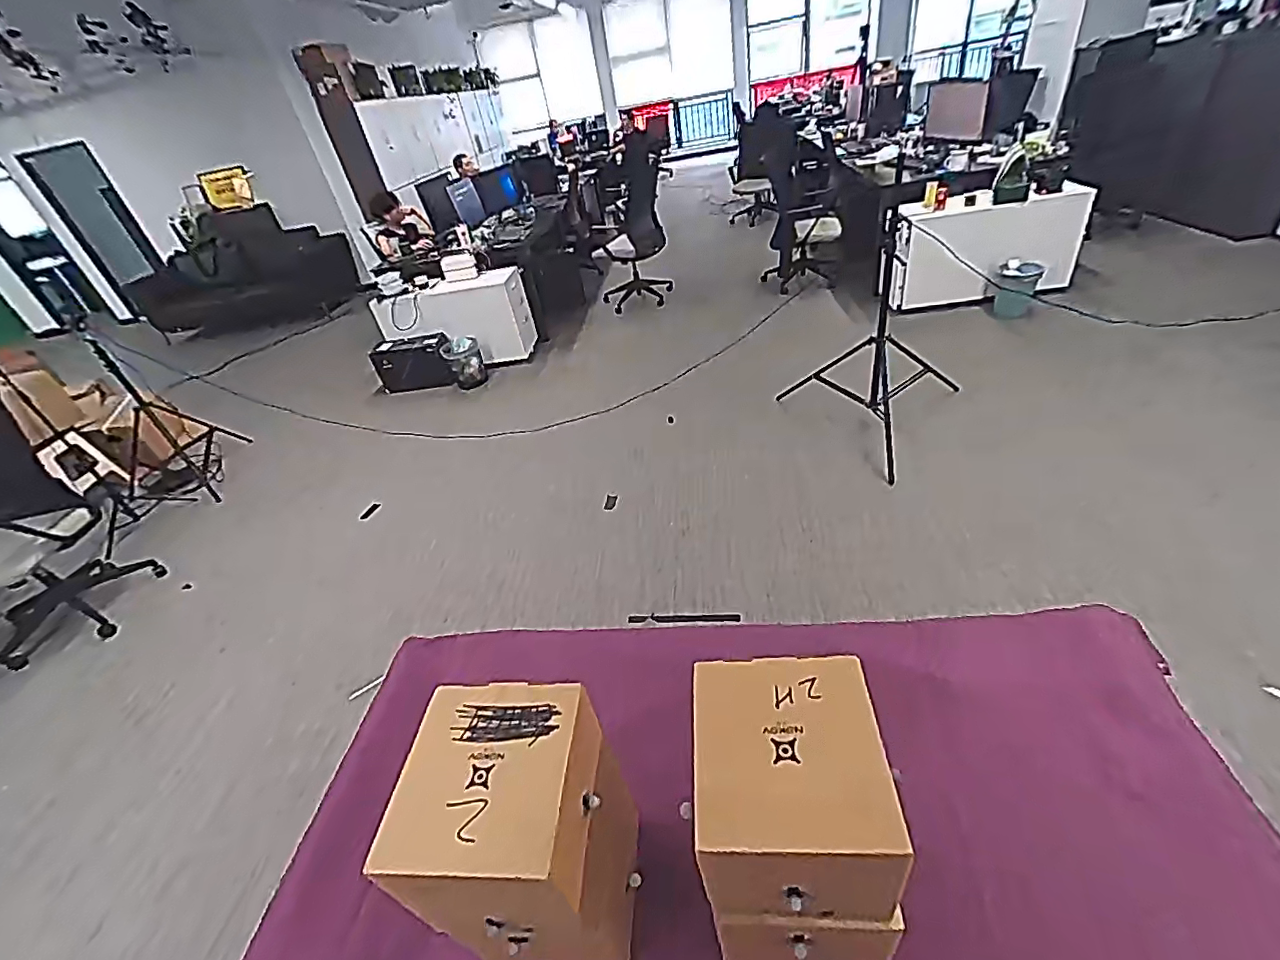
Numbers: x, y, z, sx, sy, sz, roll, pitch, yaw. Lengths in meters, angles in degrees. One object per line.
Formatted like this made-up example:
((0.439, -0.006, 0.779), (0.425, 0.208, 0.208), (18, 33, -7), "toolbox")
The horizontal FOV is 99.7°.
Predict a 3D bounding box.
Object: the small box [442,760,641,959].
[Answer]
((-0.103, 0.463, 0.656), (0.179, 0.176, 0.168), (-5, 37, 9), "small box")

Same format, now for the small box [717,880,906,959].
((0.180, 0.433, 0.619), (0.179, 0.176, 0.168), (-6, 36, 10), "small box")

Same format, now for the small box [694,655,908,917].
((0.145, 0.298, 0.531), (0.168, 0.176, 0.179), (-5, 36, 9), "small box")
